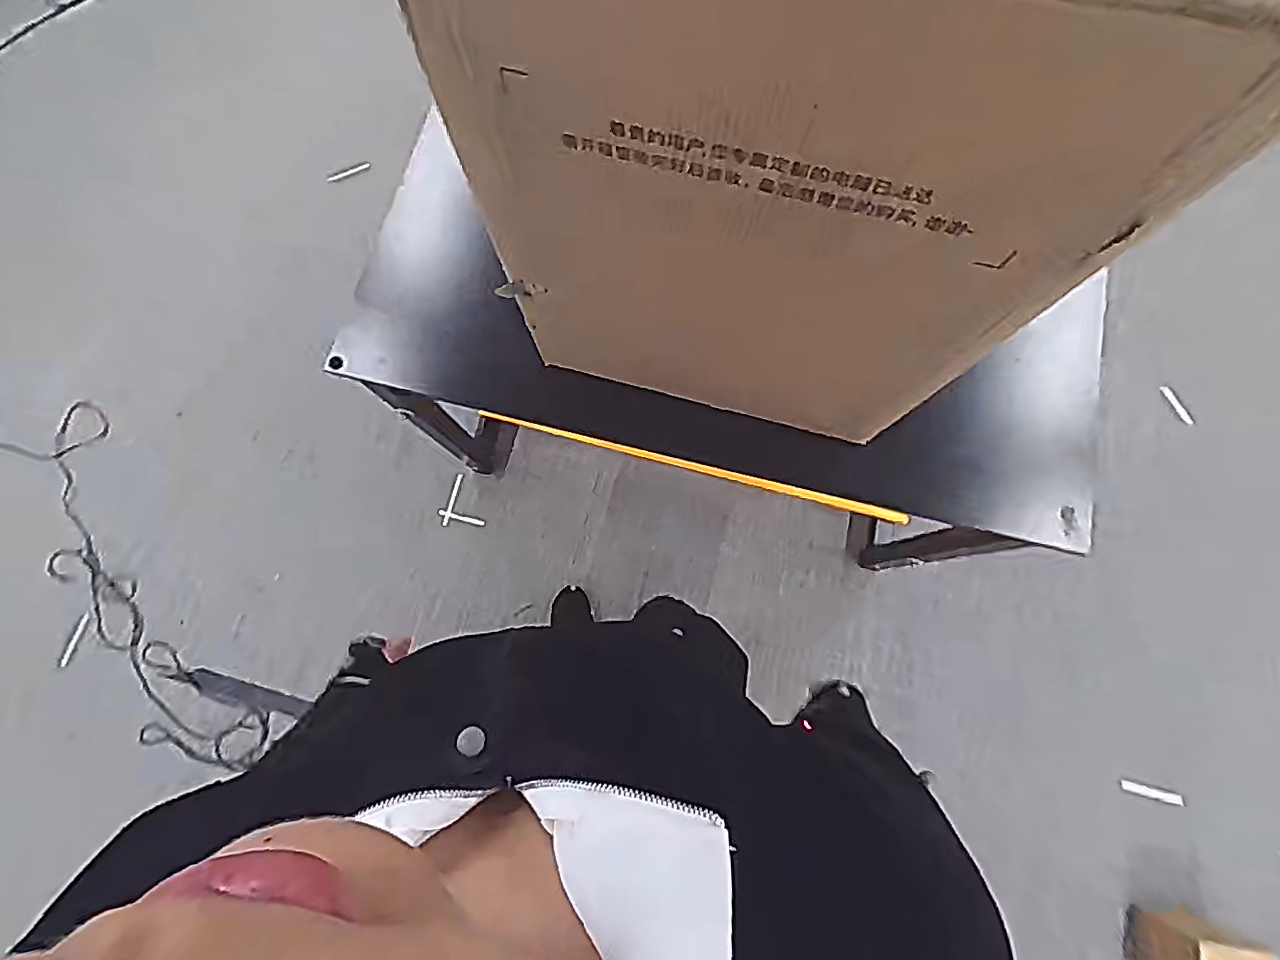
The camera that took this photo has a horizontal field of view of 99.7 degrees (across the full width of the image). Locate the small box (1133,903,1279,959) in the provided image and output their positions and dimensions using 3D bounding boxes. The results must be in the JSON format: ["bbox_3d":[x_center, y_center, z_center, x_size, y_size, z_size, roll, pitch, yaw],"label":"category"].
[{"bbox_3d":[1.284,1.105,1.228,0.179,0.176,0.168,7,77,3],"label":"small box"}]
